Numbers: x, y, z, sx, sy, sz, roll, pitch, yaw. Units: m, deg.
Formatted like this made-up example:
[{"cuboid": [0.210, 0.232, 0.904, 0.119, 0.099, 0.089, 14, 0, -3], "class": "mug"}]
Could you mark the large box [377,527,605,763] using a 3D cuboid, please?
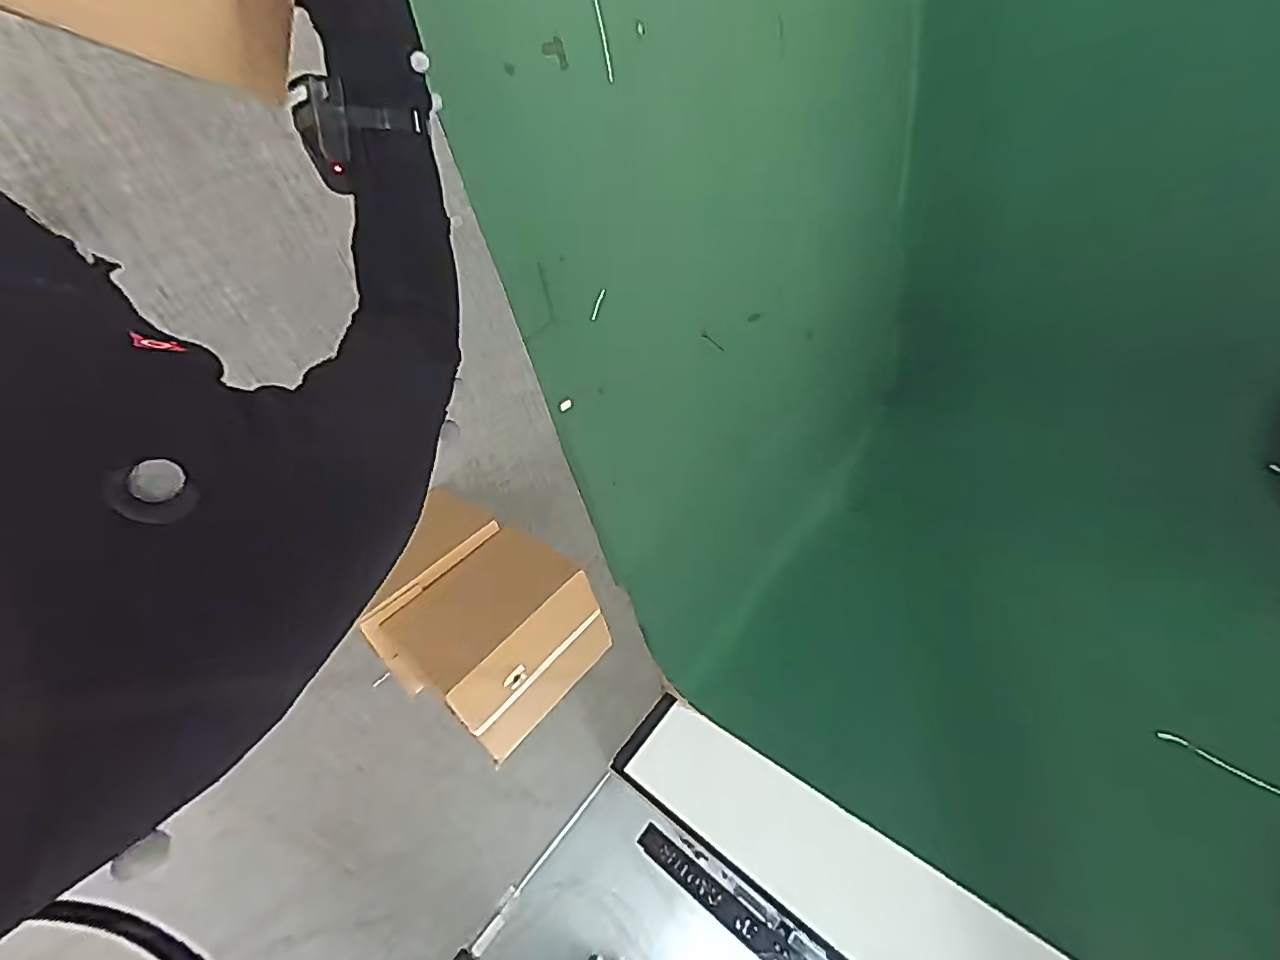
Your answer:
[{"cuboid": [-0.357, 0.394, 1.365, 0.408, 0.320, 0.320, -41, 136, -31], "class": "large box"}]
